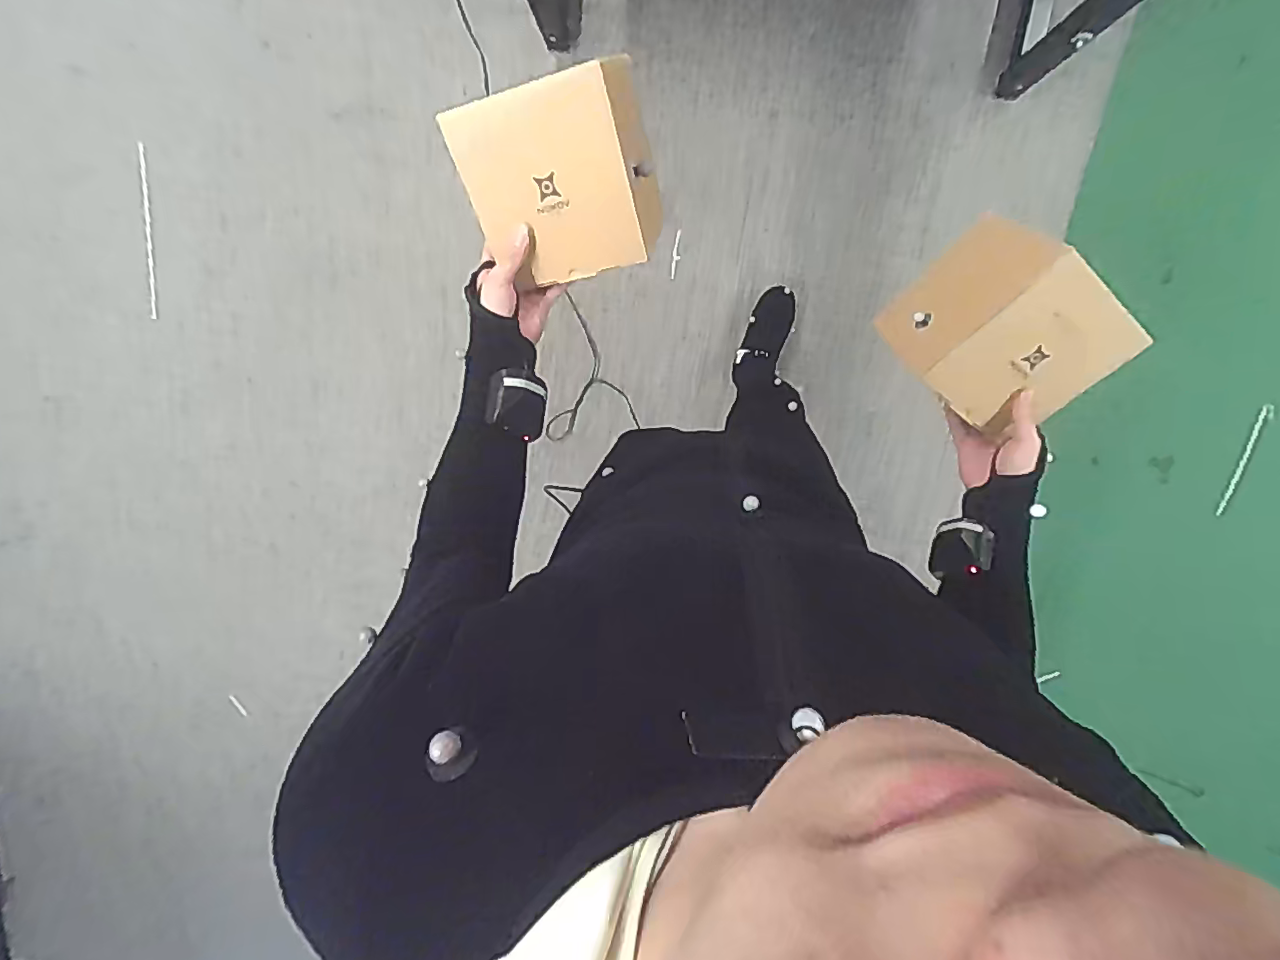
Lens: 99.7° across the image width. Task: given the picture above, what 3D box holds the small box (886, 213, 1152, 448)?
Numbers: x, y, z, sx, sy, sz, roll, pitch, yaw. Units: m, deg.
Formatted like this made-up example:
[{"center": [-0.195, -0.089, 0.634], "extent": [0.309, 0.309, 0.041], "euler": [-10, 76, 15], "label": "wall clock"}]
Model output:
[{"center": [0.421, -0.178, 0.640], "extent": [0.168, 0.176, 0.179], "euler": [30, 122, -21], "label": "small box"}]

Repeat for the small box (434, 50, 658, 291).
[{"center": [-0.082, -0.332, 0.581], "extent": [0.168, 0.176, 0.179], "euler": [-8, 129, 14], "label": "small box"}]

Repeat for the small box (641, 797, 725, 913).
[{"center": [0.109, 0.964, 1.402], "extent": [0.179, 0.176, 0.168], "euler": [13, 103, 0], "label": "small box"}]
